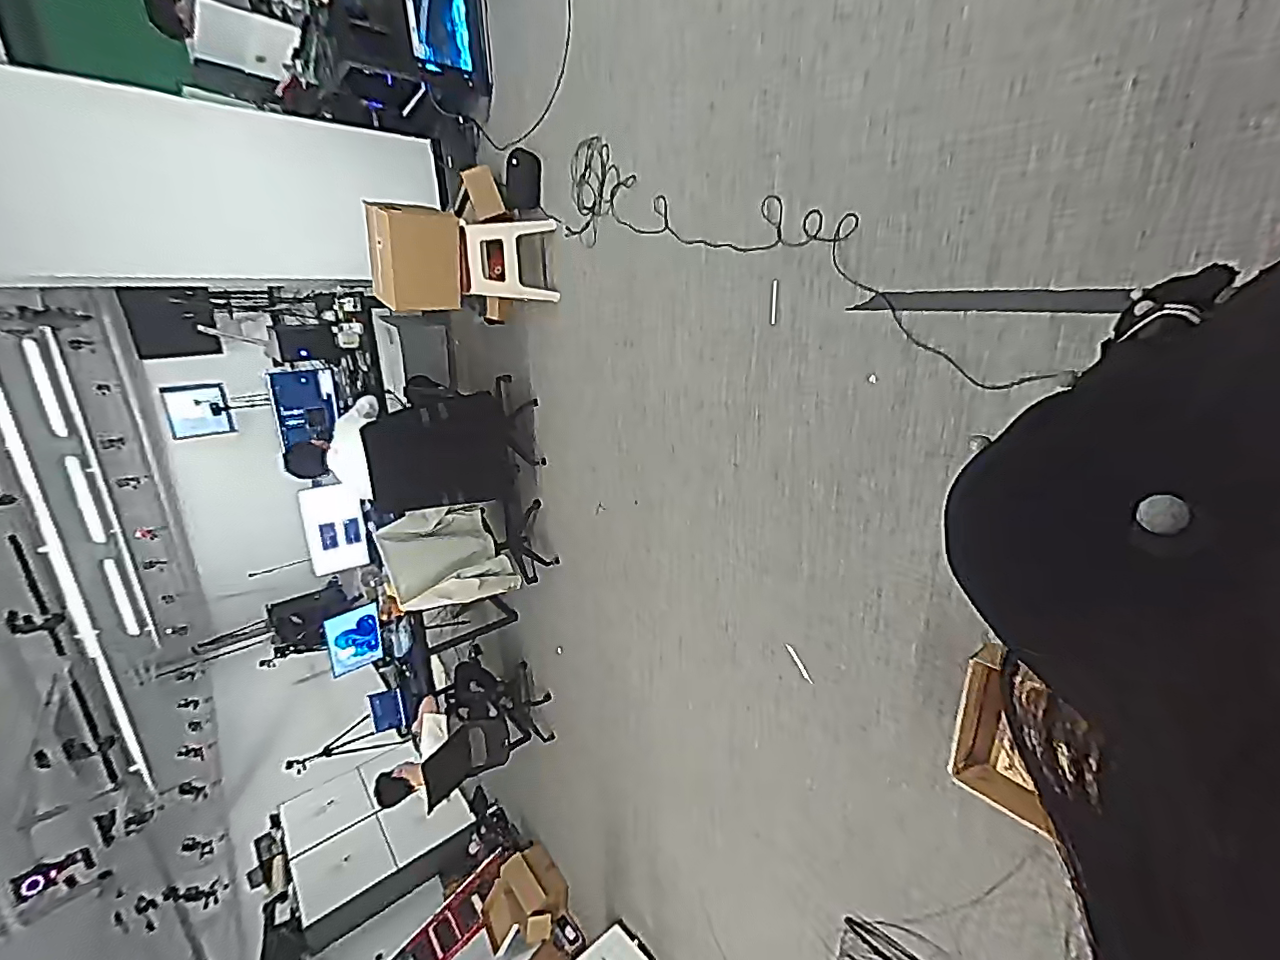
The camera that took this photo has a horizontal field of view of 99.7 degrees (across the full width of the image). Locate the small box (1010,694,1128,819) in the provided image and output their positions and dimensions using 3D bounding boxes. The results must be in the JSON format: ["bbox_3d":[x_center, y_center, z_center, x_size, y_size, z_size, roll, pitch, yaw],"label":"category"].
[{"bbox_3d":[1.028,0.648,1.293,0.179,0.176,0.168,19,116,46],"label":"small box"}]
